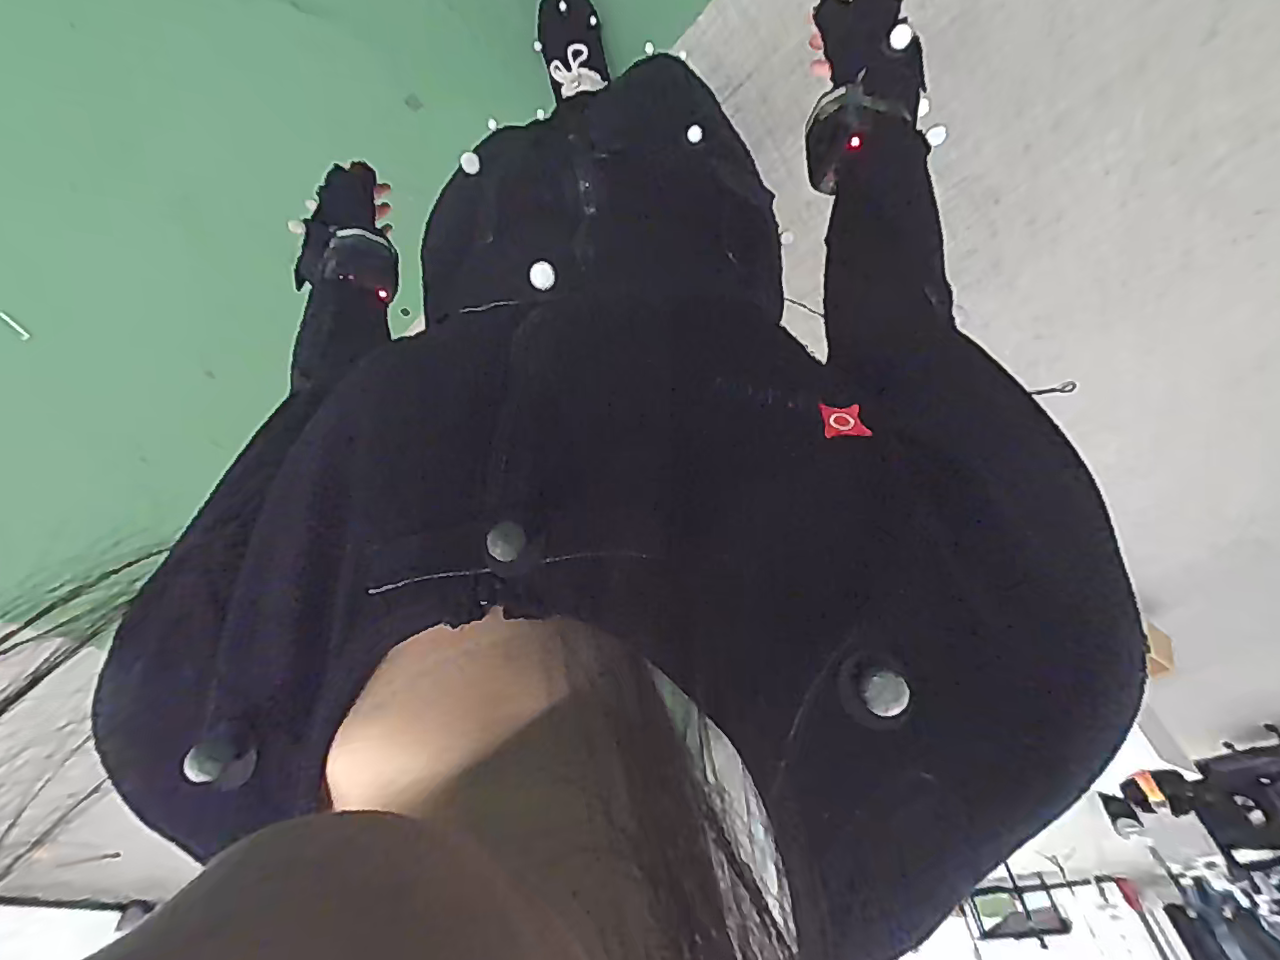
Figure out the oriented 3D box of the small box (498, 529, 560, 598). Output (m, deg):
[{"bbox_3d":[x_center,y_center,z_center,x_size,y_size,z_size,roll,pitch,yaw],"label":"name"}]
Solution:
[{"bbox_3d":[-0.420,0.320,2.085,0.168,0.176,0.179,33,123,-31],"label":"small box"}]
